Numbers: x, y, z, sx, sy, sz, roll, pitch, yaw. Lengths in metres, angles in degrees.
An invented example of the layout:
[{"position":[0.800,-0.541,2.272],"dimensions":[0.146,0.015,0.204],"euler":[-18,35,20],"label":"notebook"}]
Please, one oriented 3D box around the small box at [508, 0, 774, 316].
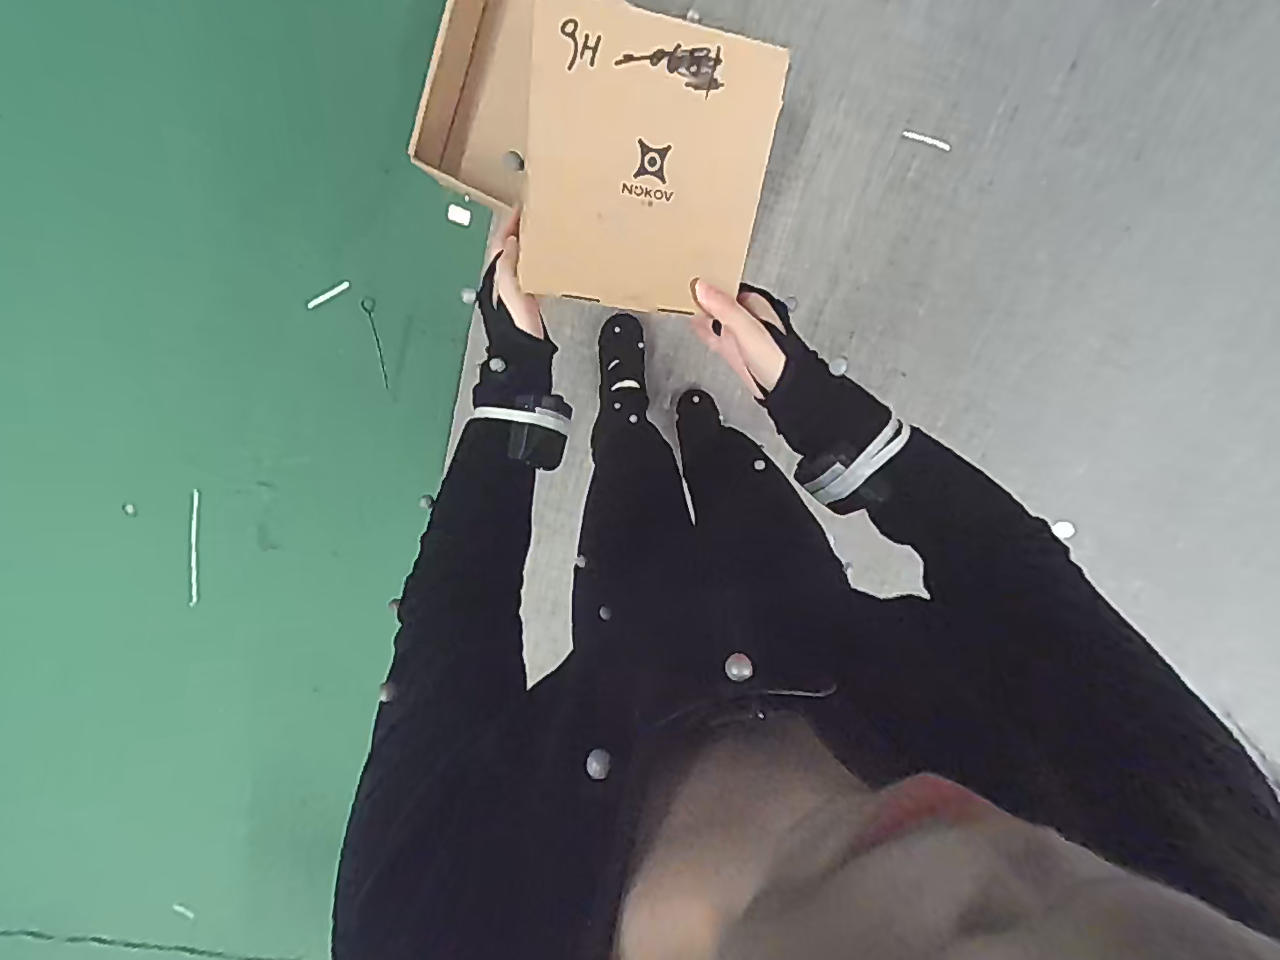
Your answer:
[{"position":[-0.016,-0.250,0.448],"dimensions":[0.168,0.176,0.179],"euler":[4,116,-13],"label":"small box"}]
